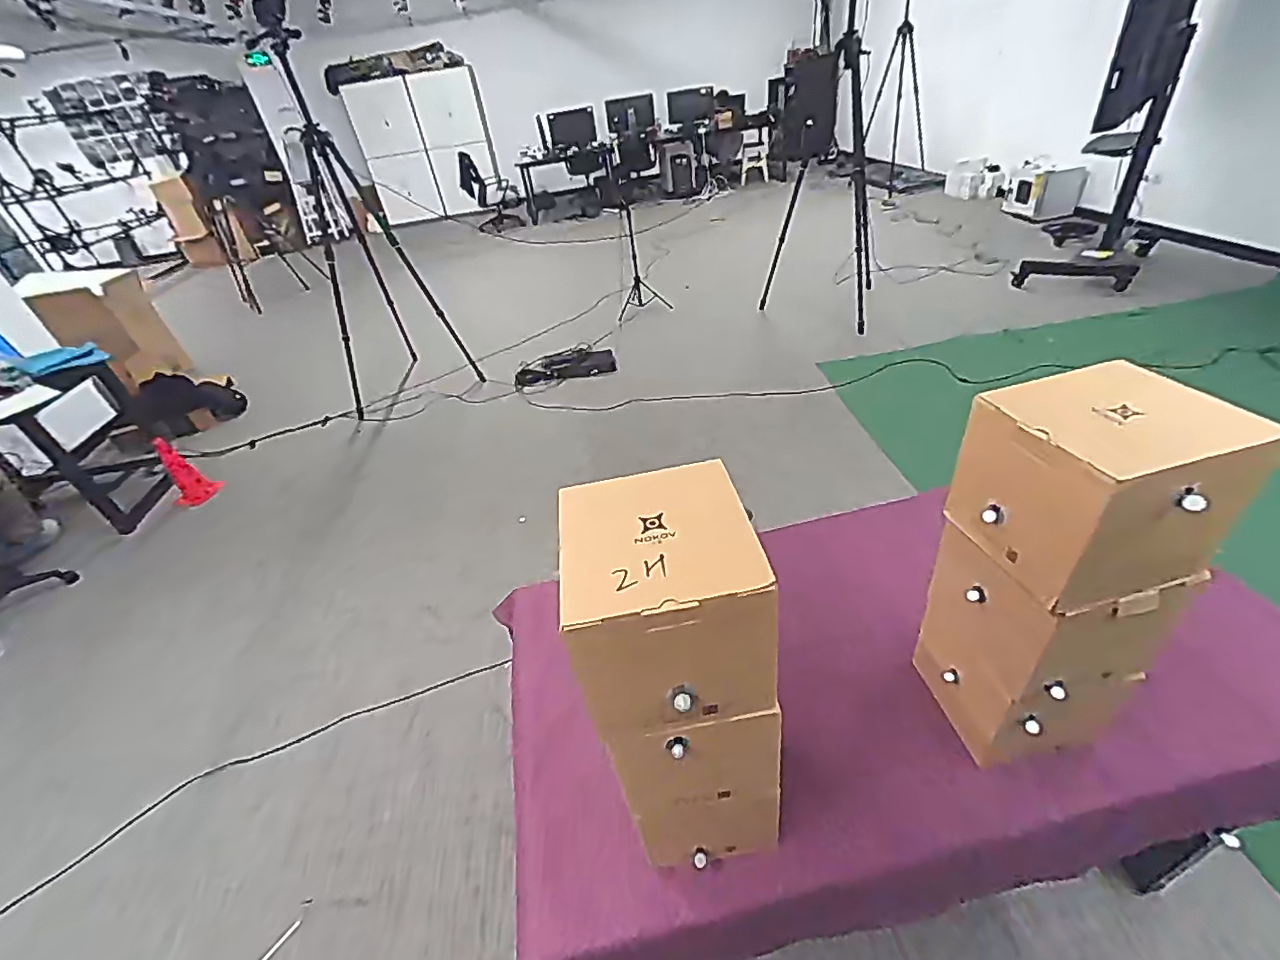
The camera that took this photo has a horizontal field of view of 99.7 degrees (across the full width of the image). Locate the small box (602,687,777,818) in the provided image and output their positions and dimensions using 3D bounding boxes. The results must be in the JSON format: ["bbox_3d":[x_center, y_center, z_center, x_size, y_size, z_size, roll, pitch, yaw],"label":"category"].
[{"bbox_3d":[0.051,0.243,0.613,0.168,0.176,0.179,-11,35,1],"label":"small box"}]

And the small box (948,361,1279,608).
[{"bbox_3d":[0.457,0.003,0.559,0.179,0.176,0.168,-15,36,-4],"label":"small box"}]

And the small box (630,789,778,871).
[{"bbox_3d":[0.075,0.374,0.711,0.168,0.176,0.179,-10,37,1],"label":"small box"}]

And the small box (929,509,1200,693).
[{"bbox_3d":[0.485,0.132,0.654,0.168,0.176,0.179,-13,35,-4],"label":"small box"}]

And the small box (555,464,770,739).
[{"bbox_3d":[0.019,0.112,0.518,0.168,0.176,0.179,-11,37,-1],"label":"small box"}]
